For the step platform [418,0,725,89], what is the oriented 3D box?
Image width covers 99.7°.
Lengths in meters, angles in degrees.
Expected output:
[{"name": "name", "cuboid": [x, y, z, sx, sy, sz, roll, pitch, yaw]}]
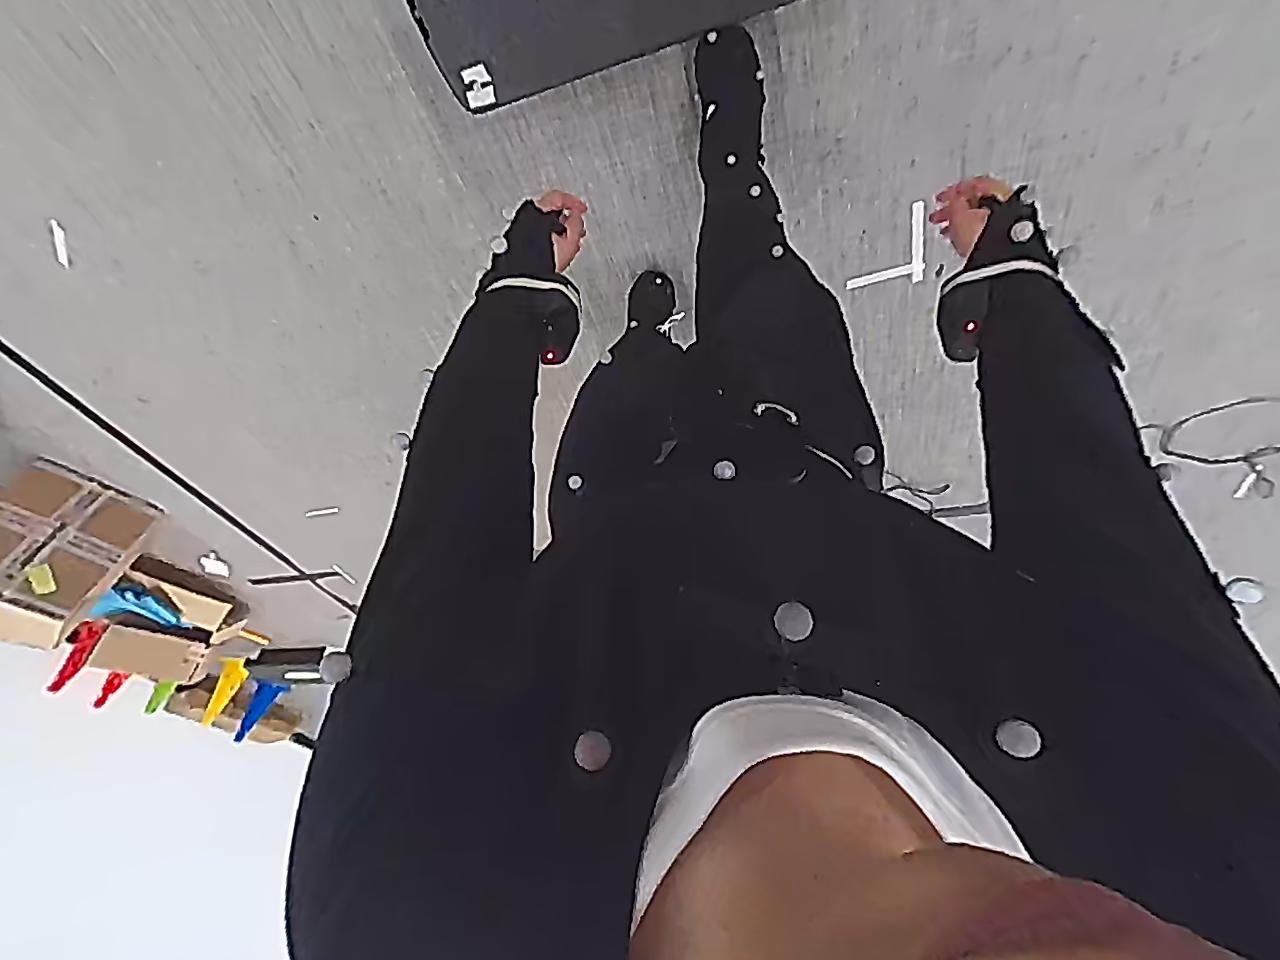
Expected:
[{"name": "step platform", "cuboid": [0.004, -0.791, 0.717, 0.684, 0.204, 0.286, -8, 136, 16]}]
